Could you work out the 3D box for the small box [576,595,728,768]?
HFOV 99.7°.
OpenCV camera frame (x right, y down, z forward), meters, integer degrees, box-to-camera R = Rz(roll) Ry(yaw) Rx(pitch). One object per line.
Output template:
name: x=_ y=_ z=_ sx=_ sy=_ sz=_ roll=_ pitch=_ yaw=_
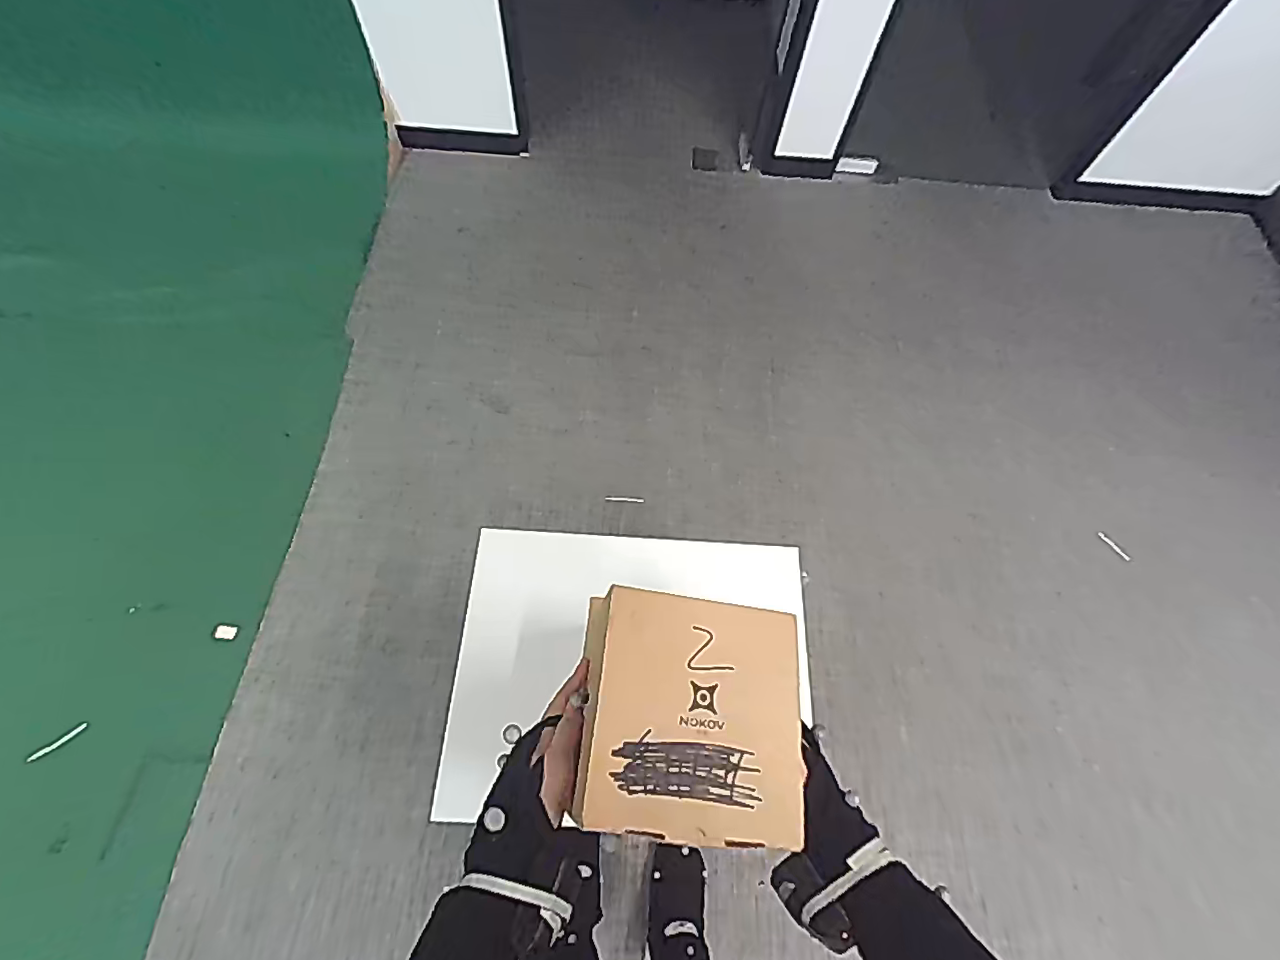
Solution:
small box: x=0.013 y=0.259 z=0.690 sx=0.168 sy=0.176 sz=0.179 roll=6 pitch=65 yaw=-1
